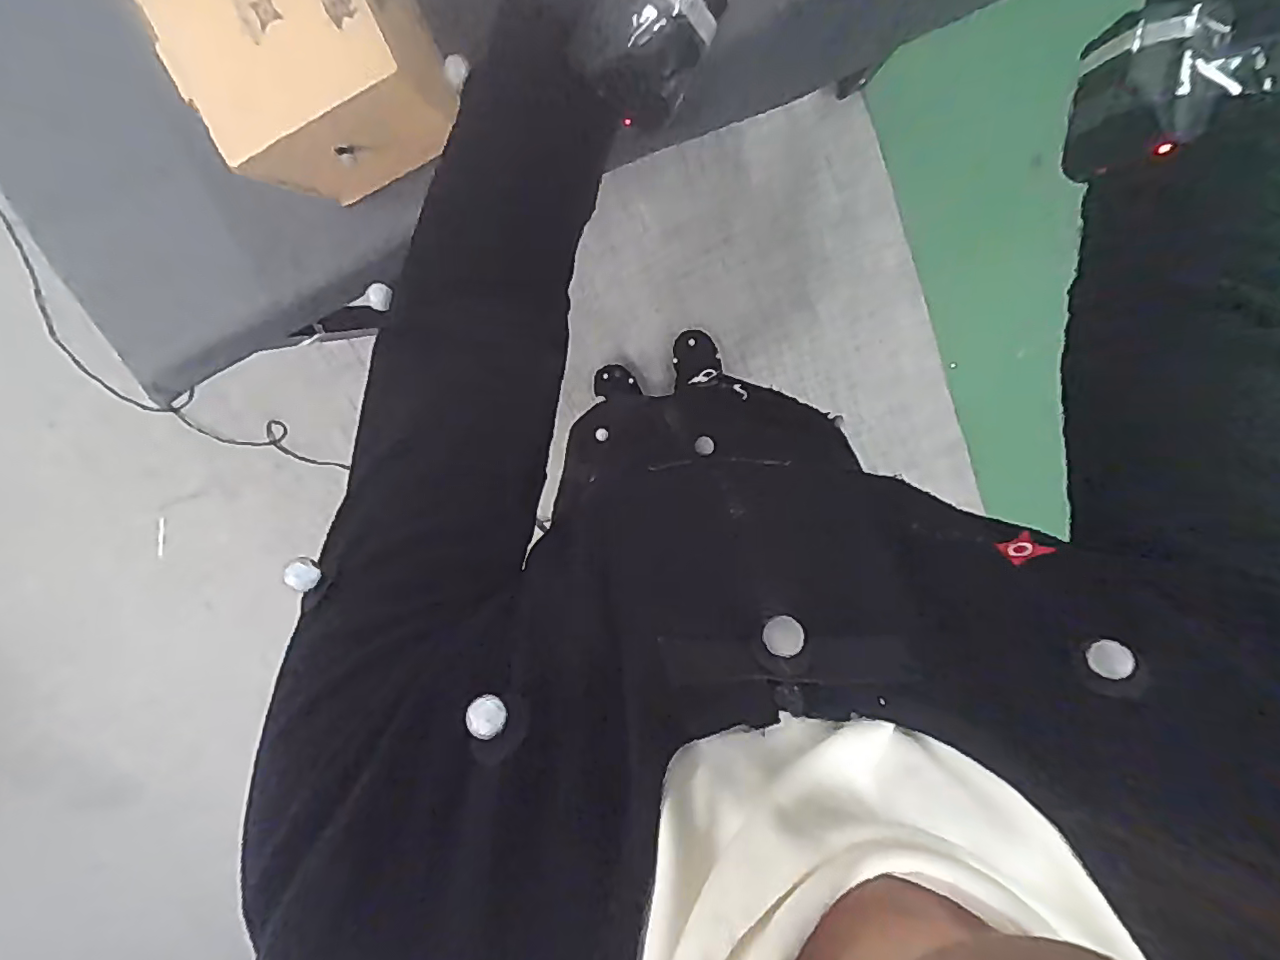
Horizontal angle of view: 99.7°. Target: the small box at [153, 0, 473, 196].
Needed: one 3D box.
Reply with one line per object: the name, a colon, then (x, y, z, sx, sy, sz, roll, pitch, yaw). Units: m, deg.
small box: (-0.292, -0.399, 0.512, 0.179, 0.176, 0.168, -21, 104, 10)
